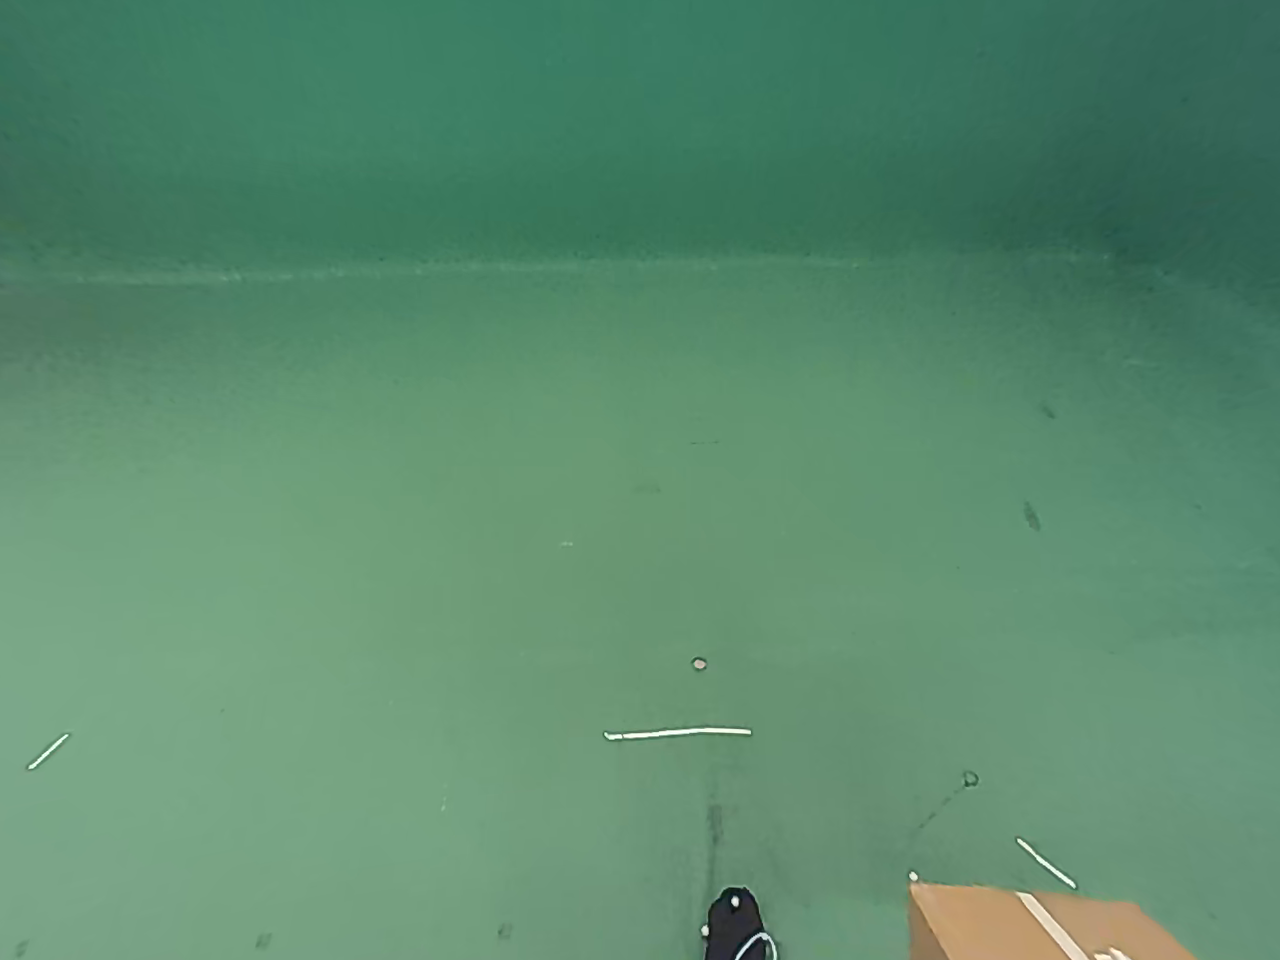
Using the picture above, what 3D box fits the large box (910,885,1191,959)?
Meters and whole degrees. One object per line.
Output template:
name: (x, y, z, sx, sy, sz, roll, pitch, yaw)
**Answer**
large box: (0.532, 0.746, 0.588, 0.320, 0.408, 0.320, 2, 86, 7)
